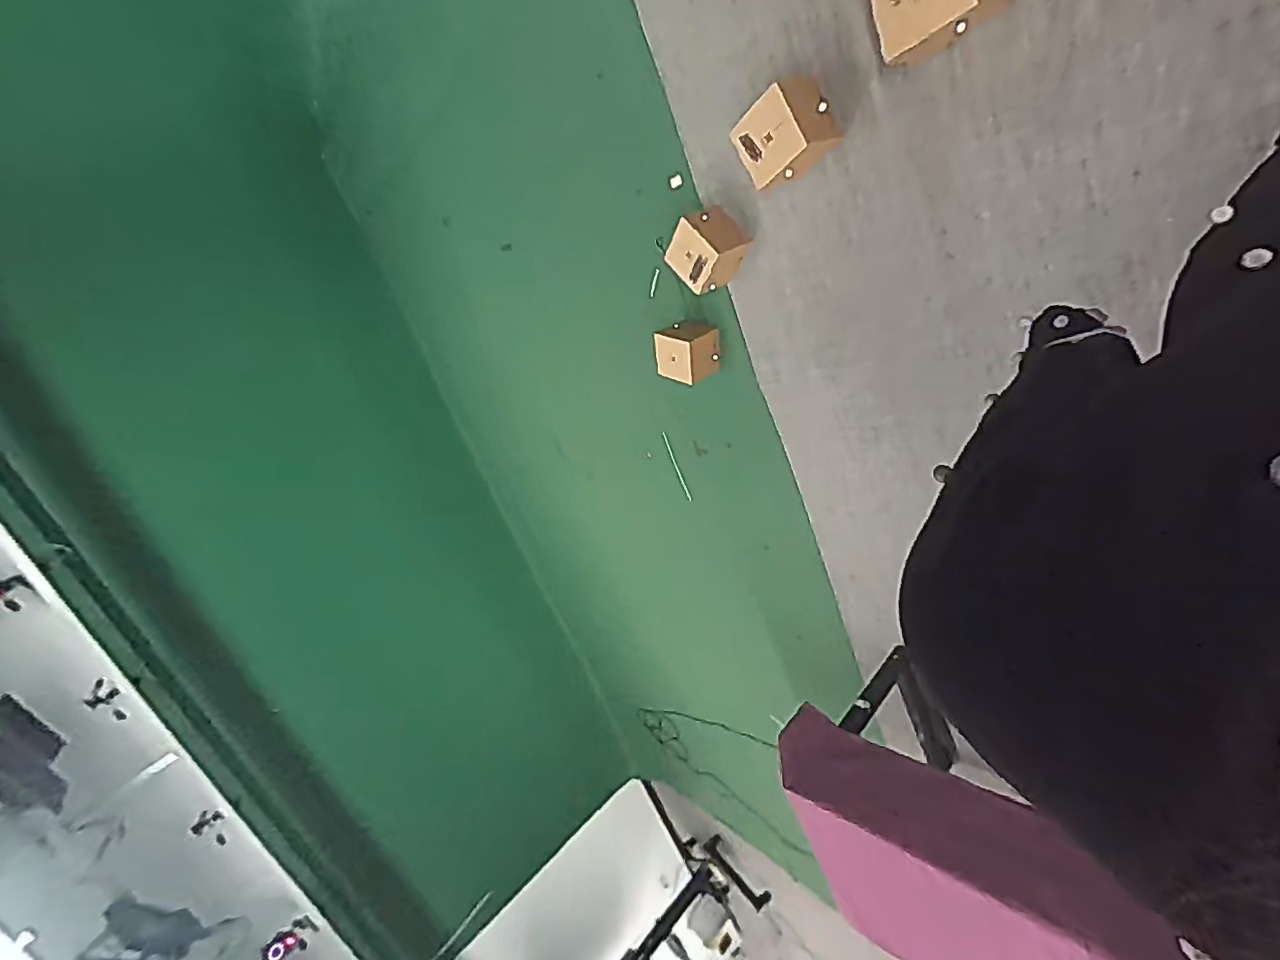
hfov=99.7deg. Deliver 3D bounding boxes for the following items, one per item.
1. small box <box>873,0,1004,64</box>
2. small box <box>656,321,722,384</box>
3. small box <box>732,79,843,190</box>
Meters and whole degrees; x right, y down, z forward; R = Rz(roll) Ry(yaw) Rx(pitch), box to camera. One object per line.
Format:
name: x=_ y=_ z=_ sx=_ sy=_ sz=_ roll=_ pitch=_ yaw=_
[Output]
small box: x=0.577 y=-0.944 z=1.040 sx=0.179 sy=0.176 sz=0.168 roll=1 pitch=118 yaw=54
small box: x=0.182 y=-0.478 z=2.002 sx=0.179 sy=0.176 sz=0.168 roll=28 pitch=138 yaw=39
small box: x=0.376 y=-0.877 z=1.376 sx=0.179 sy=0.176 sz=0.168 roll=-20 pitch=101 yaw=57
